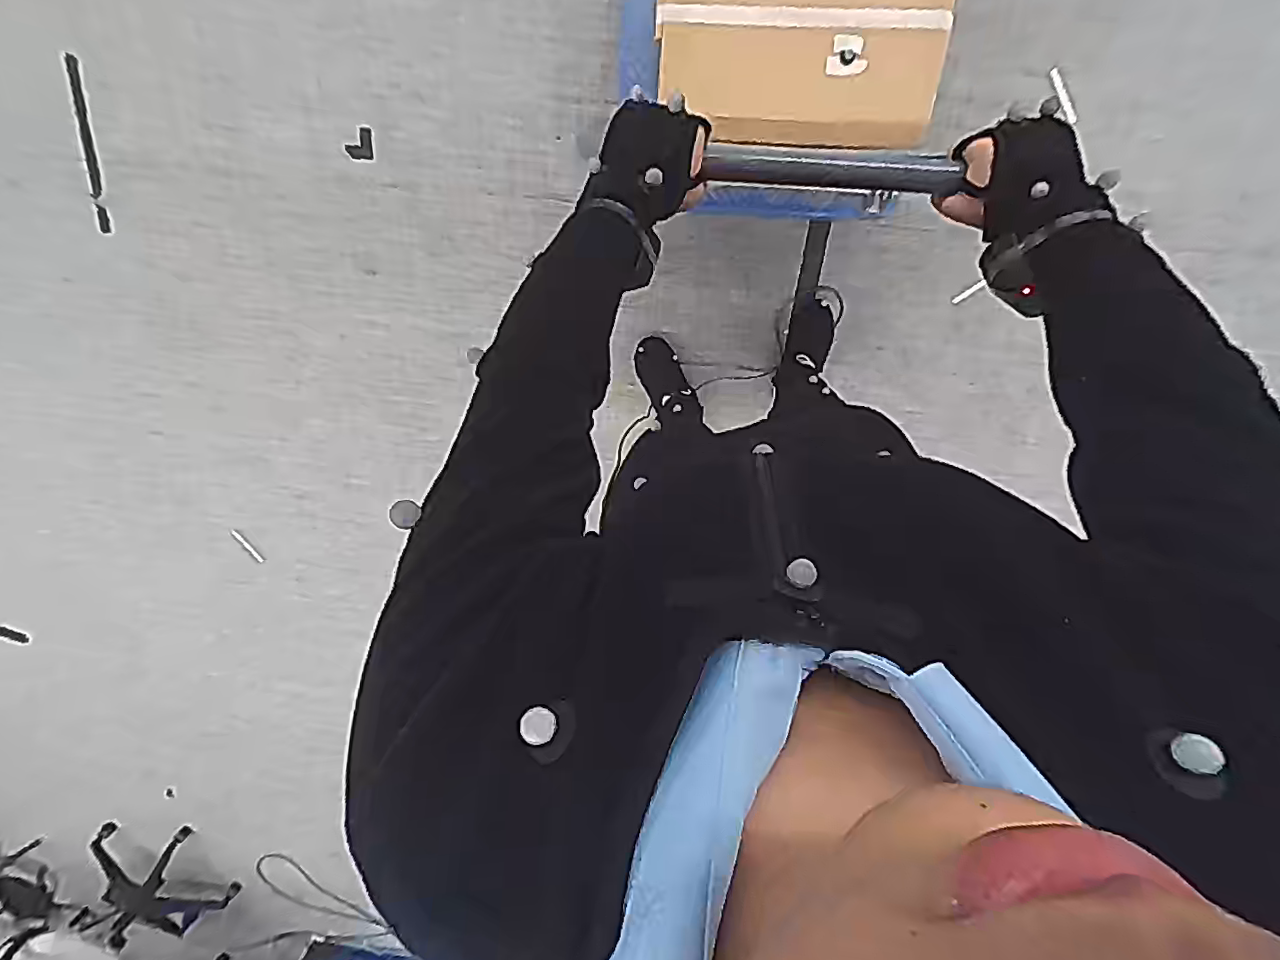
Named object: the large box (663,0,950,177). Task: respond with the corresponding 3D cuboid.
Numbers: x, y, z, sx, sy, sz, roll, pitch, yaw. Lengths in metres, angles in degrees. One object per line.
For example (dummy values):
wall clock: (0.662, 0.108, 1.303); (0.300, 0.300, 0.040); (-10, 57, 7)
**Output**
large box: (0.247, -0.715, 0.919); (0.408, 0.320, 0.320); (4, 112, 3)
